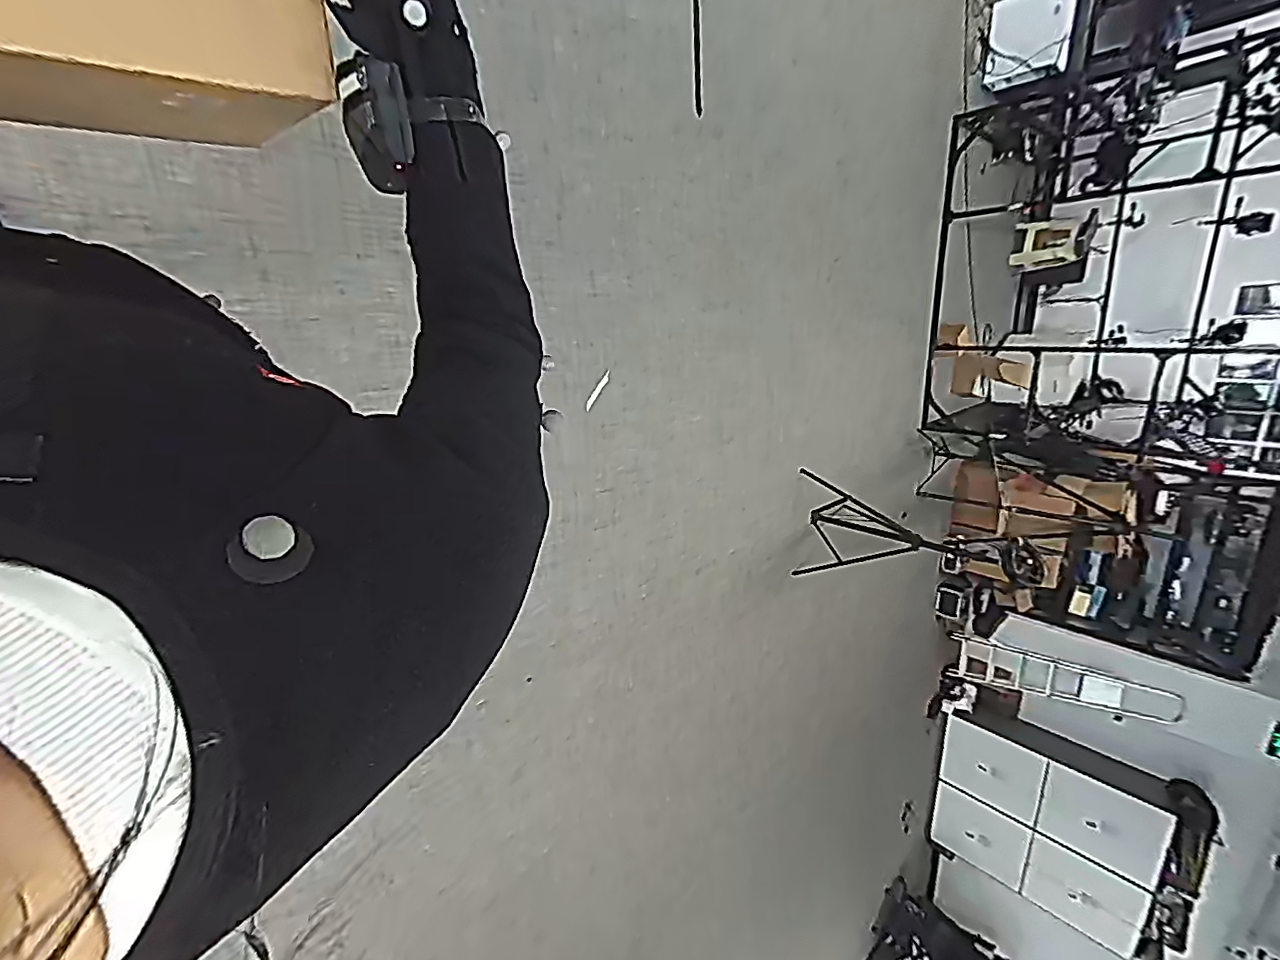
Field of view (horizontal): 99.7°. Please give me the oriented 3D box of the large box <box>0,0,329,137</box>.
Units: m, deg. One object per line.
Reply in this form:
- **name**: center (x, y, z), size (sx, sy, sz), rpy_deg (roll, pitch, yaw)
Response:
- **large box**: center (-0.446, -0.385, 0.269), size (0.408, 0.320, 0.320), rpy_deg (-20, 123, -38)
